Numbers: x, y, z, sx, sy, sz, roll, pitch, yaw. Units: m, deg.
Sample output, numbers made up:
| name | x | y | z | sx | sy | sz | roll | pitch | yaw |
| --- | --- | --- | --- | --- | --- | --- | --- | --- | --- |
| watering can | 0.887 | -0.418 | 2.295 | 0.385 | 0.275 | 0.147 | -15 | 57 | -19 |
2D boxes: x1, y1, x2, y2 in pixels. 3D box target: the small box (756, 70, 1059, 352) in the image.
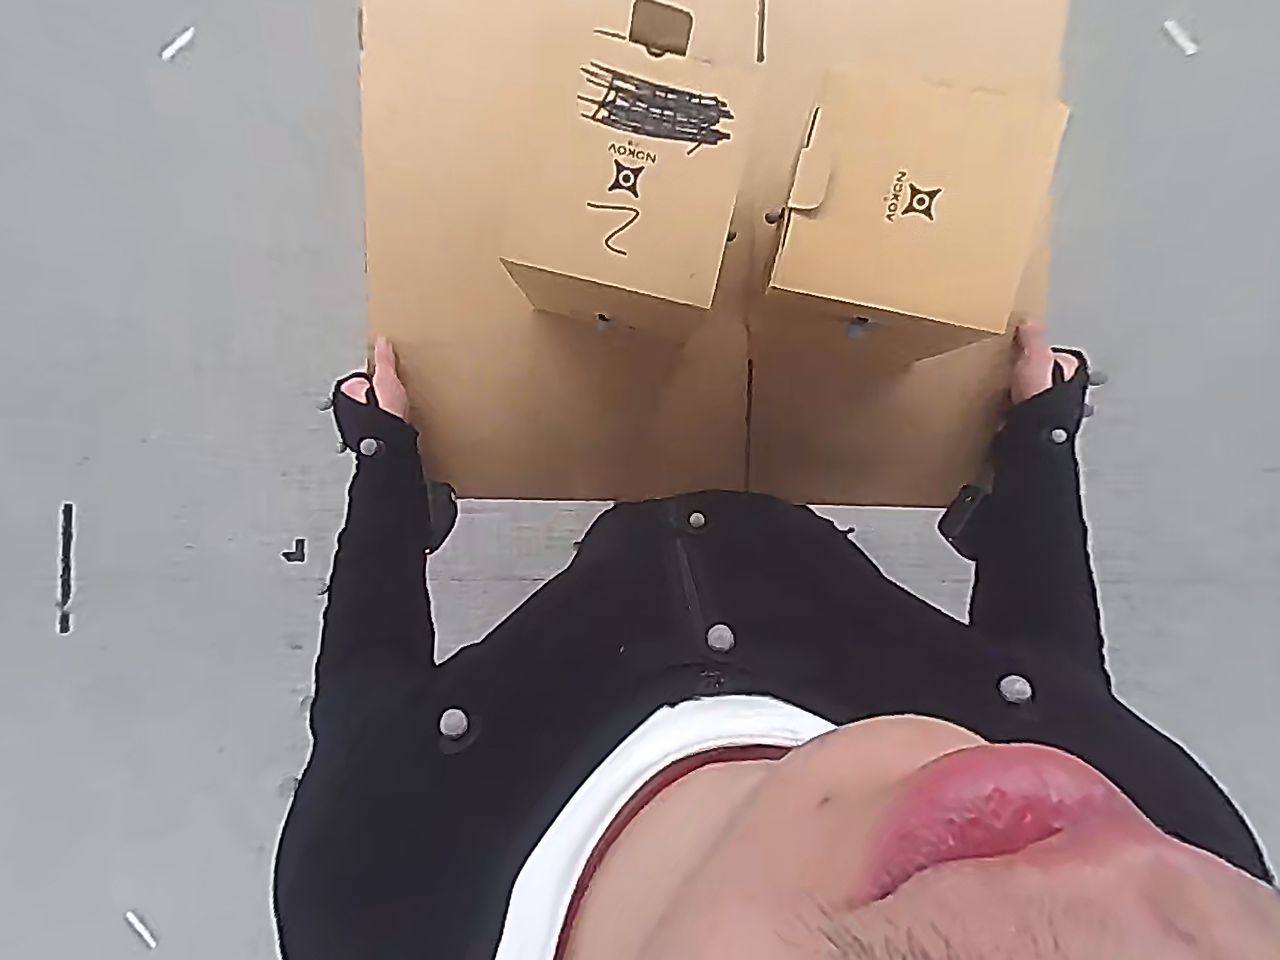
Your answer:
| name | x | y | z | sx | sy | sz | roll | pitch | yaw |
| --- | --- | --- | --- | --- | --- | --- | --- | --- | --- |
| small box | 0.215 | -0.220 | 0.491 | 0.179 | 0.176 | 0.168 | 13 | 96 | 6 |
